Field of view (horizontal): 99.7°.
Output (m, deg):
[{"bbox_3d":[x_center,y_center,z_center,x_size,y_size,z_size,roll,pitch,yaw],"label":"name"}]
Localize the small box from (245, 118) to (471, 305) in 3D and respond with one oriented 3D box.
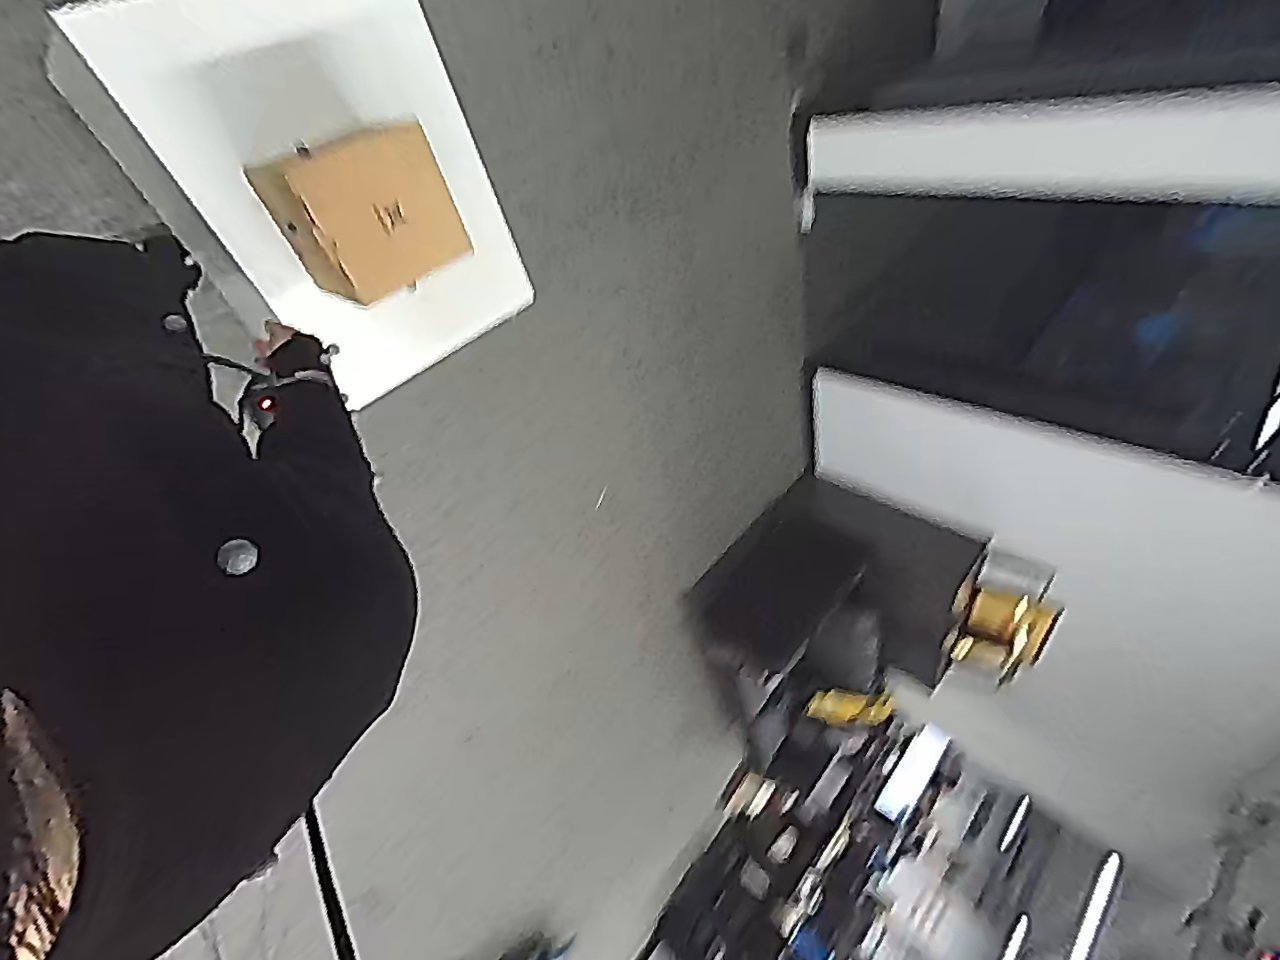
[{"bbox_3d":[-0.363,-0.355,0.706,0.179,0.176,0.168,-41,137,-26],"label":"small box"}]
